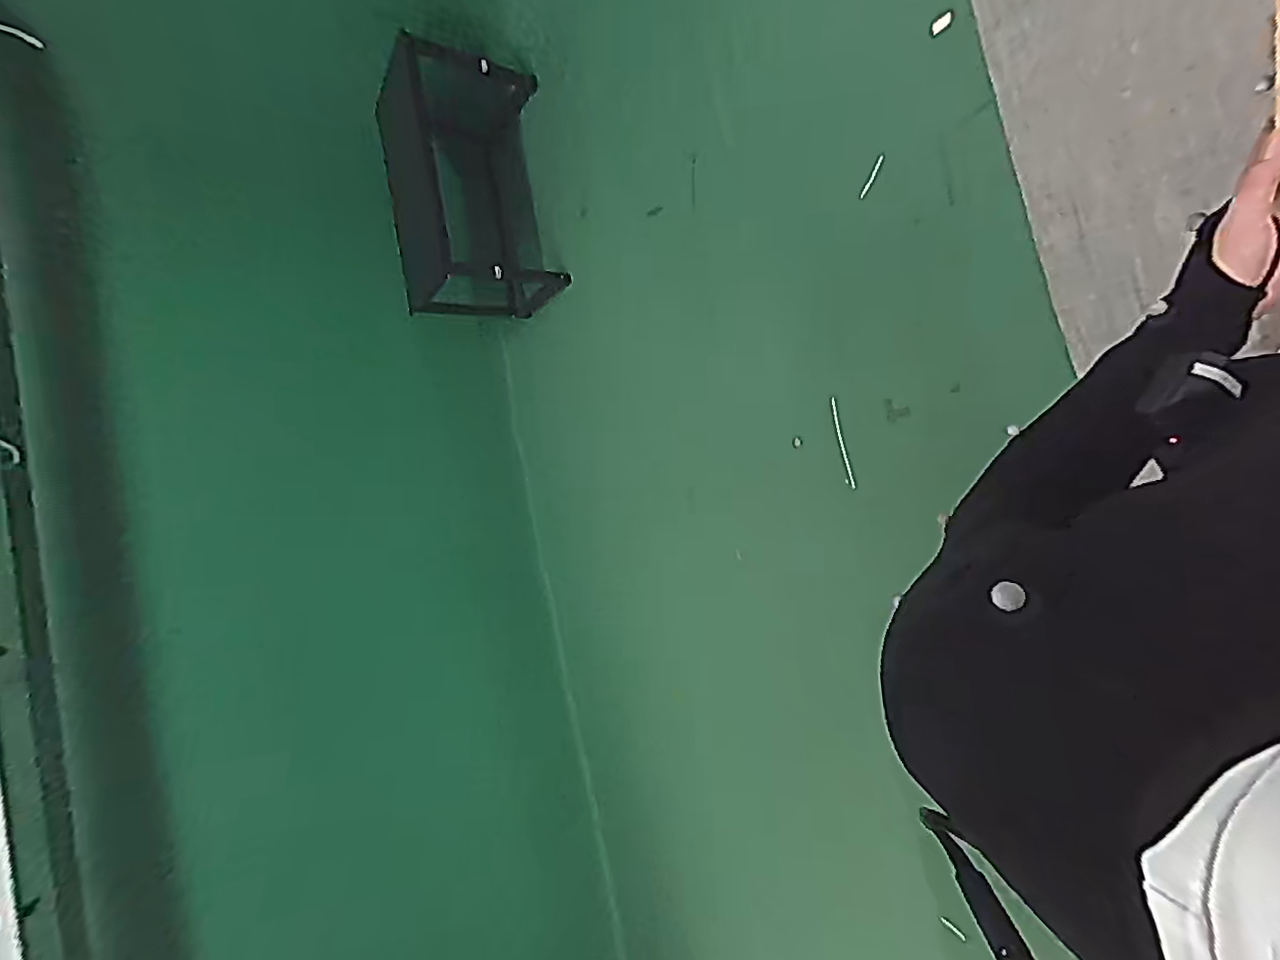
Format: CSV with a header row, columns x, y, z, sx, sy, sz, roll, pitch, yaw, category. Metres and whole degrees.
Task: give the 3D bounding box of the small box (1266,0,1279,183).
x,y,z,sx,sy,sz,roll,pitch,yaw,category
0.564,-0.321,0.371,0.168,0.176,0.179,0,96,52,small box
